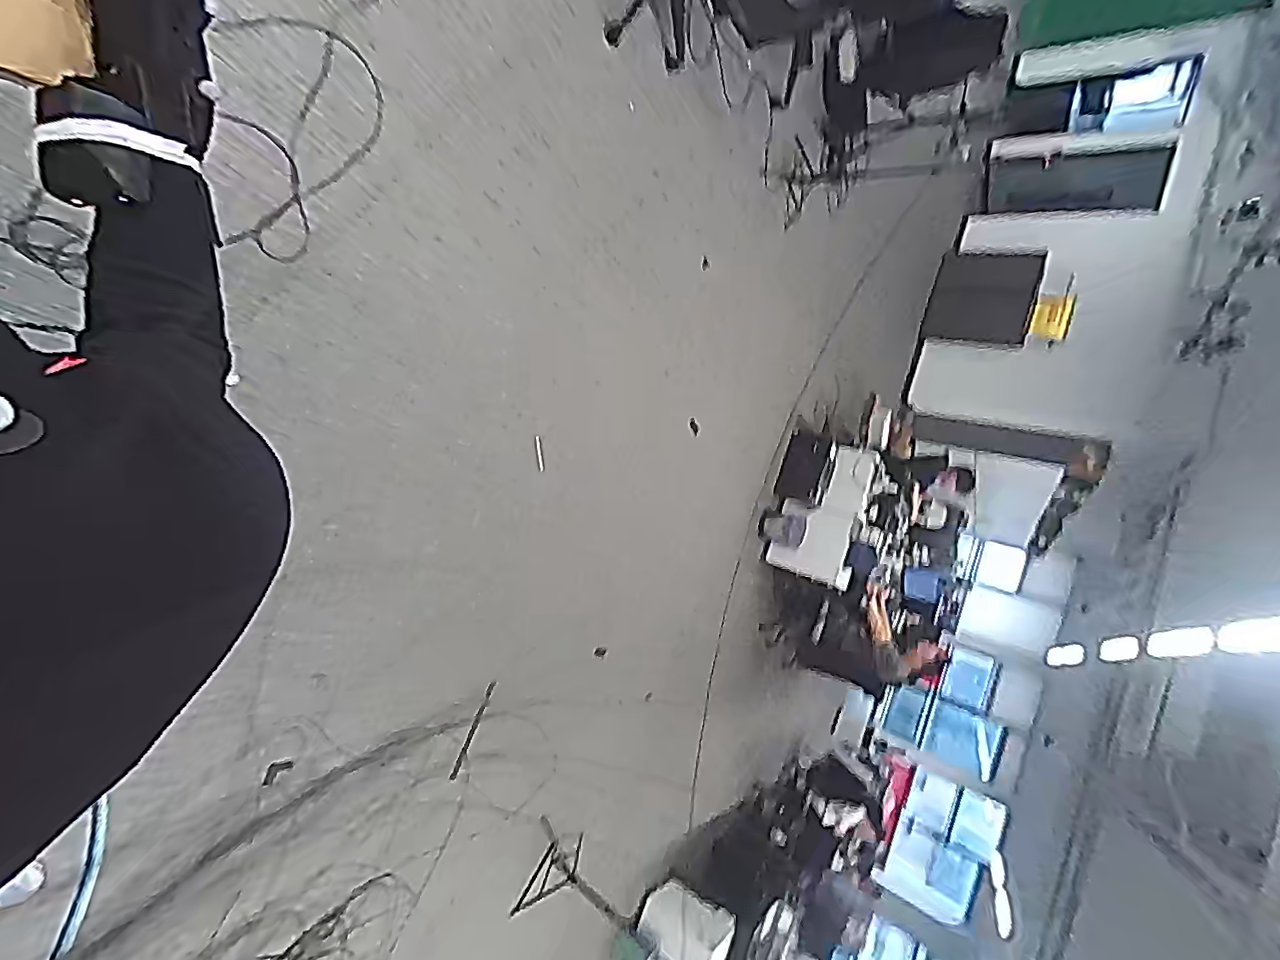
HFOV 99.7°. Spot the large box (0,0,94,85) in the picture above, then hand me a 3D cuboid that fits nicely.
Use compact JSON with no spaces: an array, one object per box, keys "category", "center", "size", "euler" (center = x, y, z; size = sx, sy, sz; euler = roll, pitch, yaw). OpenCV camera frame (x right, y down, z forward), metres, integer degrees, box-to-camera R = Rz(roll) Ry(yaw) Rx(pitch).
[{"category":"large box","center":[-0.579,-0.469,0.260],"size":[0.408,0.320,0.320],"euler":[-5,119,-56]}]
